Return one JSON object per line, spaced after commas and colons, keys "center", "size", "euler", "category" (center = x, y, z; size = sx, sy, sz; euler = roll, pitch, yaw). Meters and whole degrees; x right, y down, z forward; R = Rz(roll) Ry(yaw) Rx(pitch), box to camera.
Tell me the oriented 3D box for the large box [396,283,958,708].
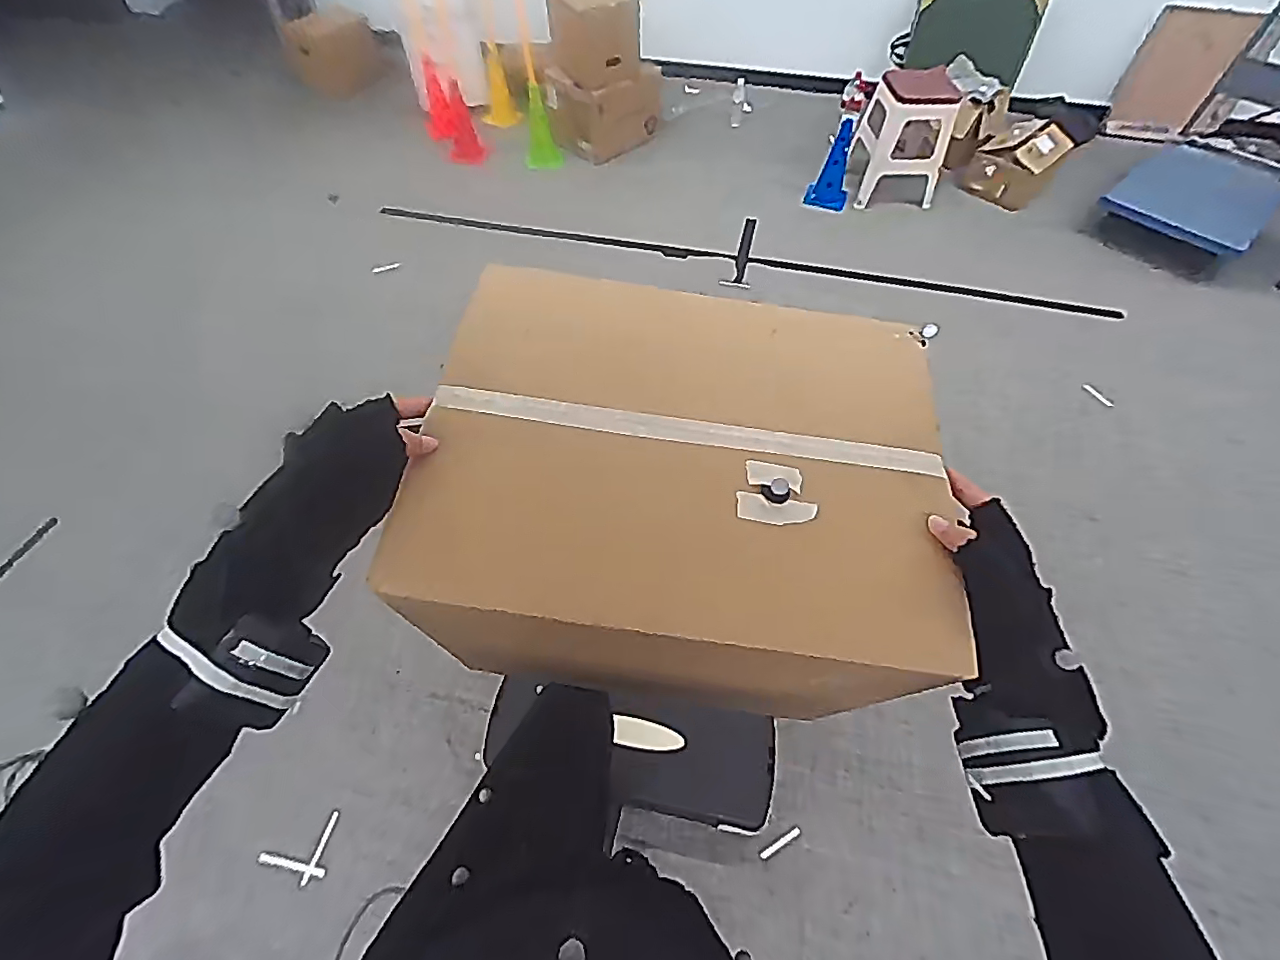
{"center": [0.030, 0.040, 0.573], "size": [0.408, 0.320, 0.320], "euler": [8, 62, 0], "category": "large box"}
